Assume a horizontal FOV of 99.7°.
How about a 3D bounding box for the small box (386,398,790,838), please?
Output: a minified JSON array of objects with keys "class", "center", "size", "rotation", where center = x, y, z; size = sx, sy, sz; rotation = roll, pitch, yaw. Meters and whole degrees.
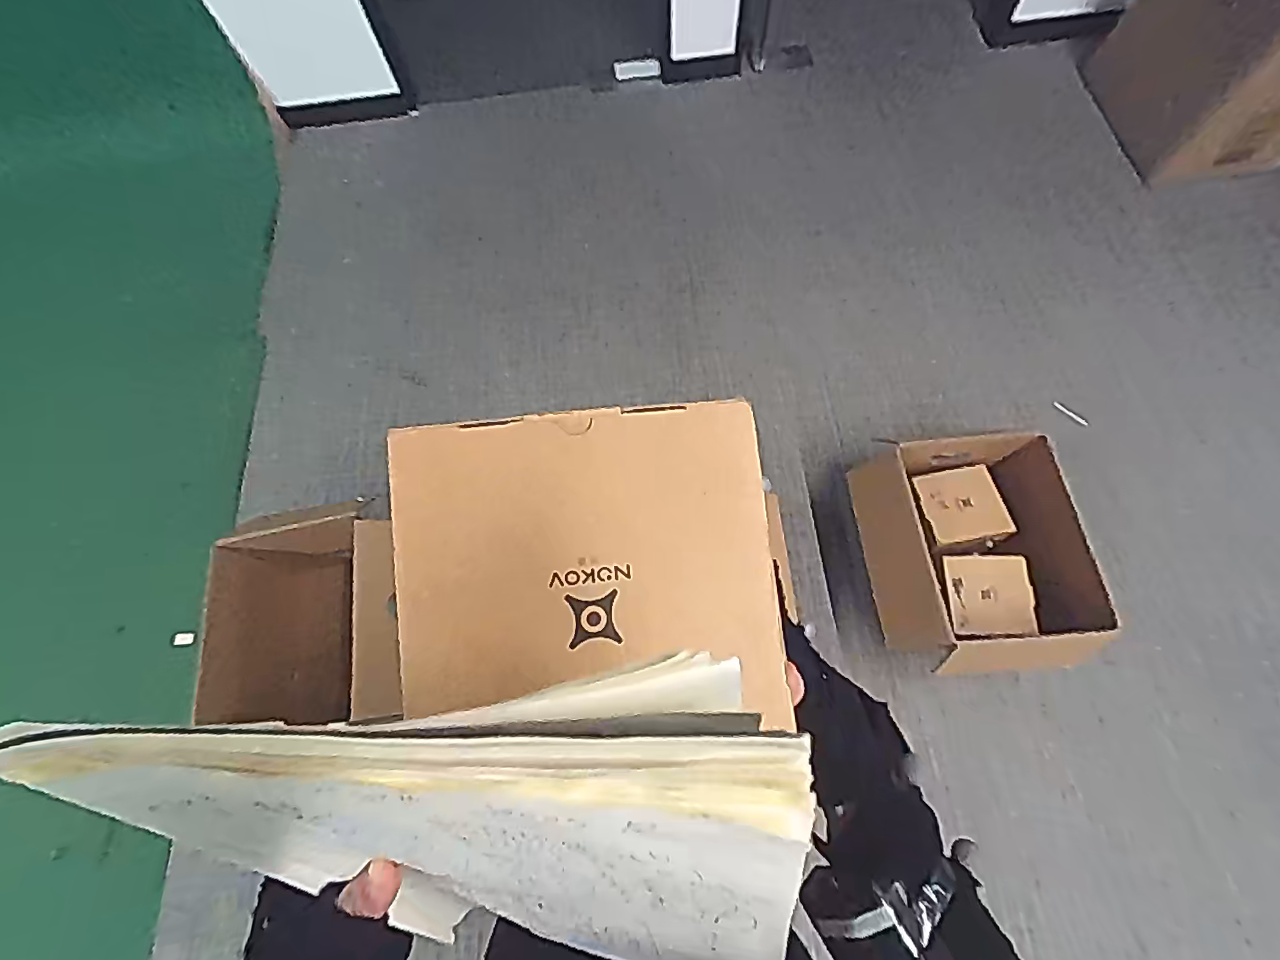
[{"class":"small box","center":[-0.029,0.064,0.317],"size":[0.168,0.176,0.179],"rotation":[-6,83,-6]}]
